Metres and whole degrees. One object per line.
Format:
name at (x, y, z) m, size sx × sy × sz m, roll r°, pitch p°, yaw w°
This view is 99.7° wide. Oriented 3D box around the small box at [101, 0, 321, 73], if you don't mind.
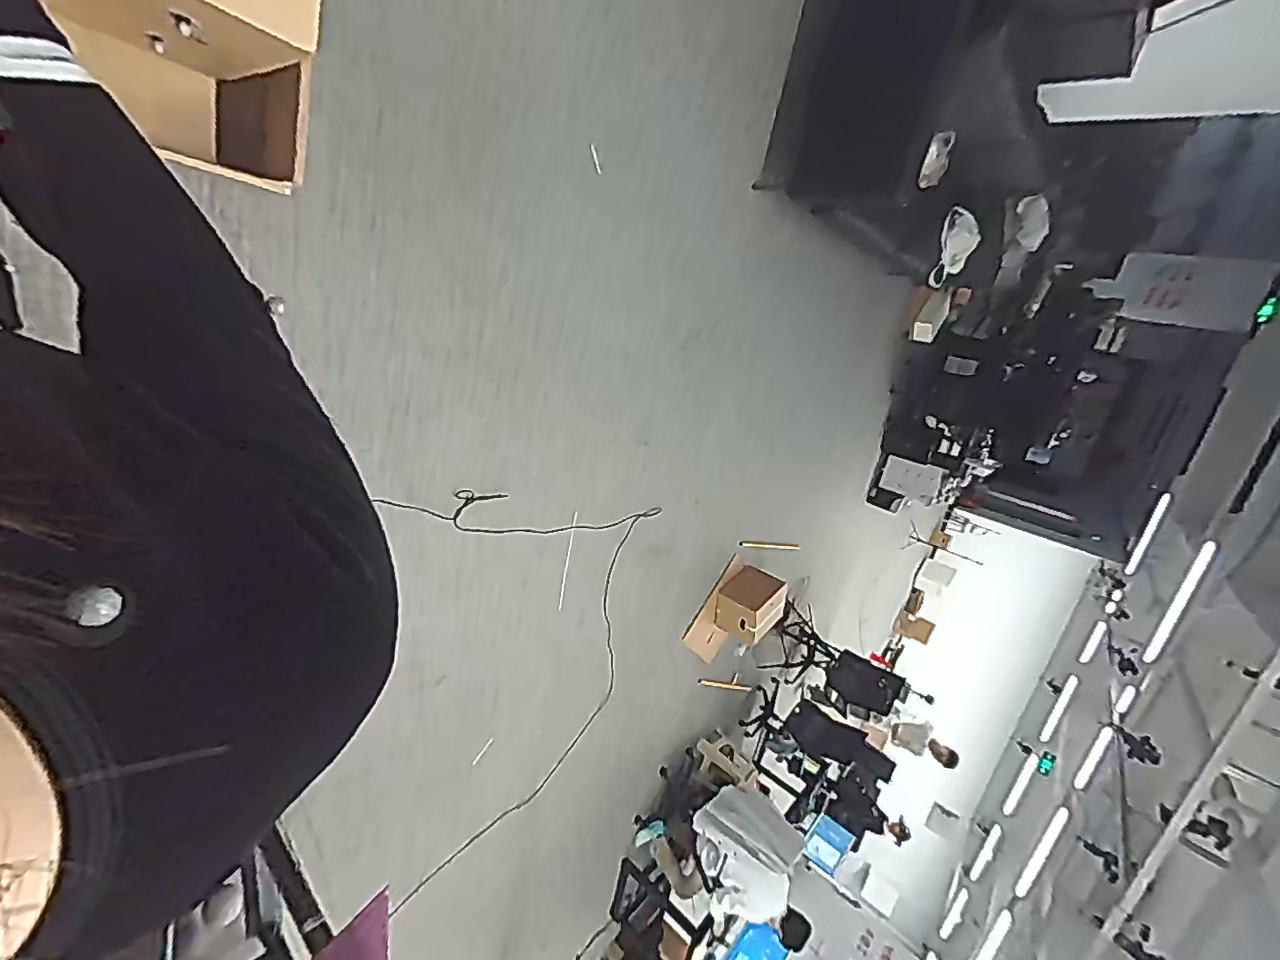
small box at (-0.417, -0.523, 0.509) m, size 0.168 × 0.176 × 0.179 m, roll -5°, pitch 113°, yaw -51°
